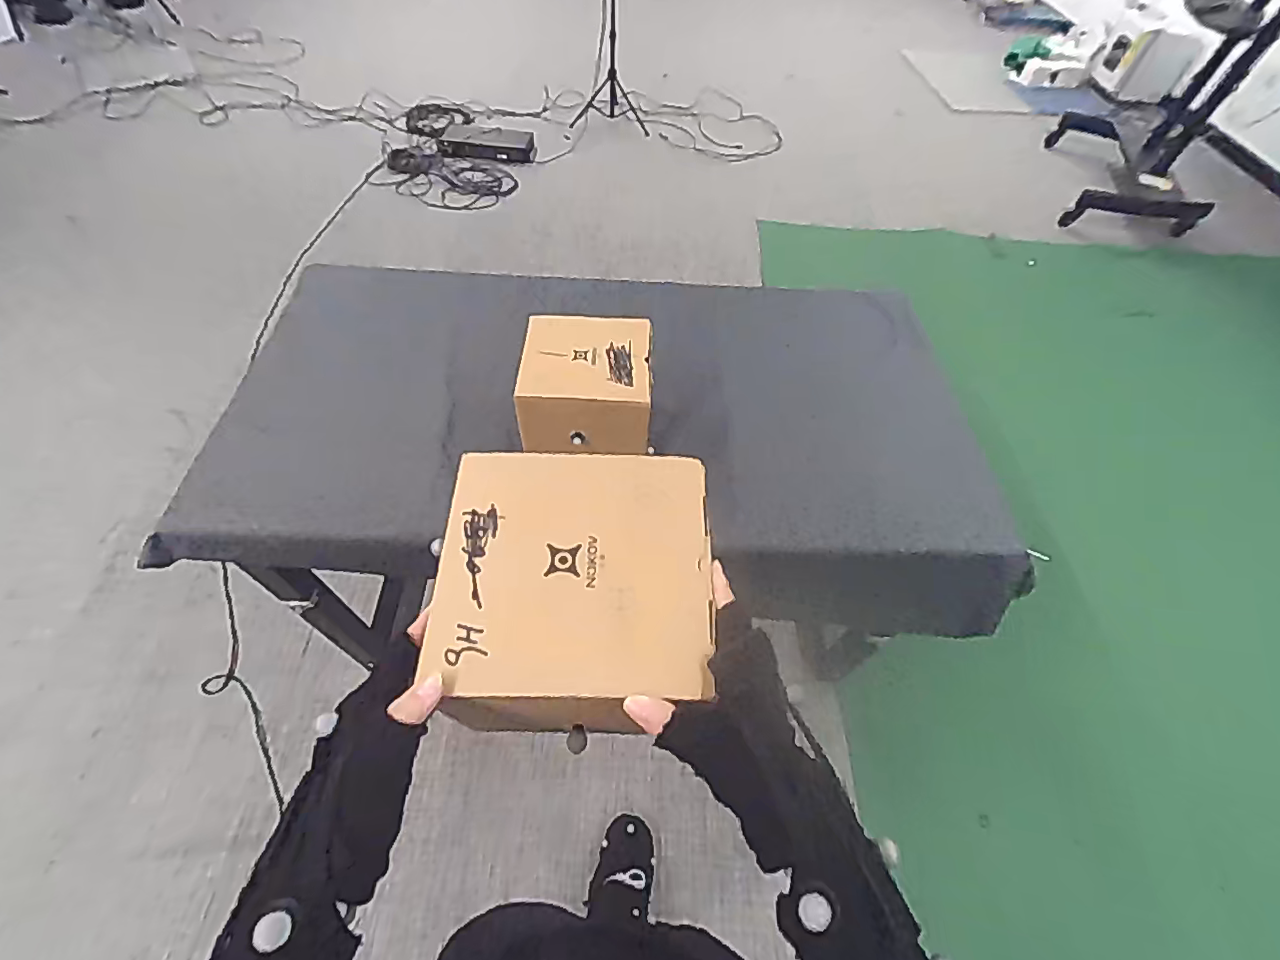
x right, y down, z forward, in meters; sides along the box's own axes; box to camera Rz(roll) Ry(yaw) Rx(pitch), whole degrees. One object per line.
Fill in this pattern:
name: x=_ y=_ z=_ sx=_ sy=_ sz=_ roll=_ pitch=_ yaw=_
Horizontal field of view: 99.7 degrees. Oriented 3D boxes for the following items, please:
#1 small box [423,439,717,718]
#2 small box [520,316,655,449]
small box: x=-0.046 y=0.086 z=0.428 sx=0.179 sy=0.176 sz=0.168 roll=3 pitch=58 yaw=-3
small box: x=-0.077 y=-0.120 z=0.804 sx=0.179 sy=0.176 sz=0.168 roll=1 pitch=55 yaw=-5
